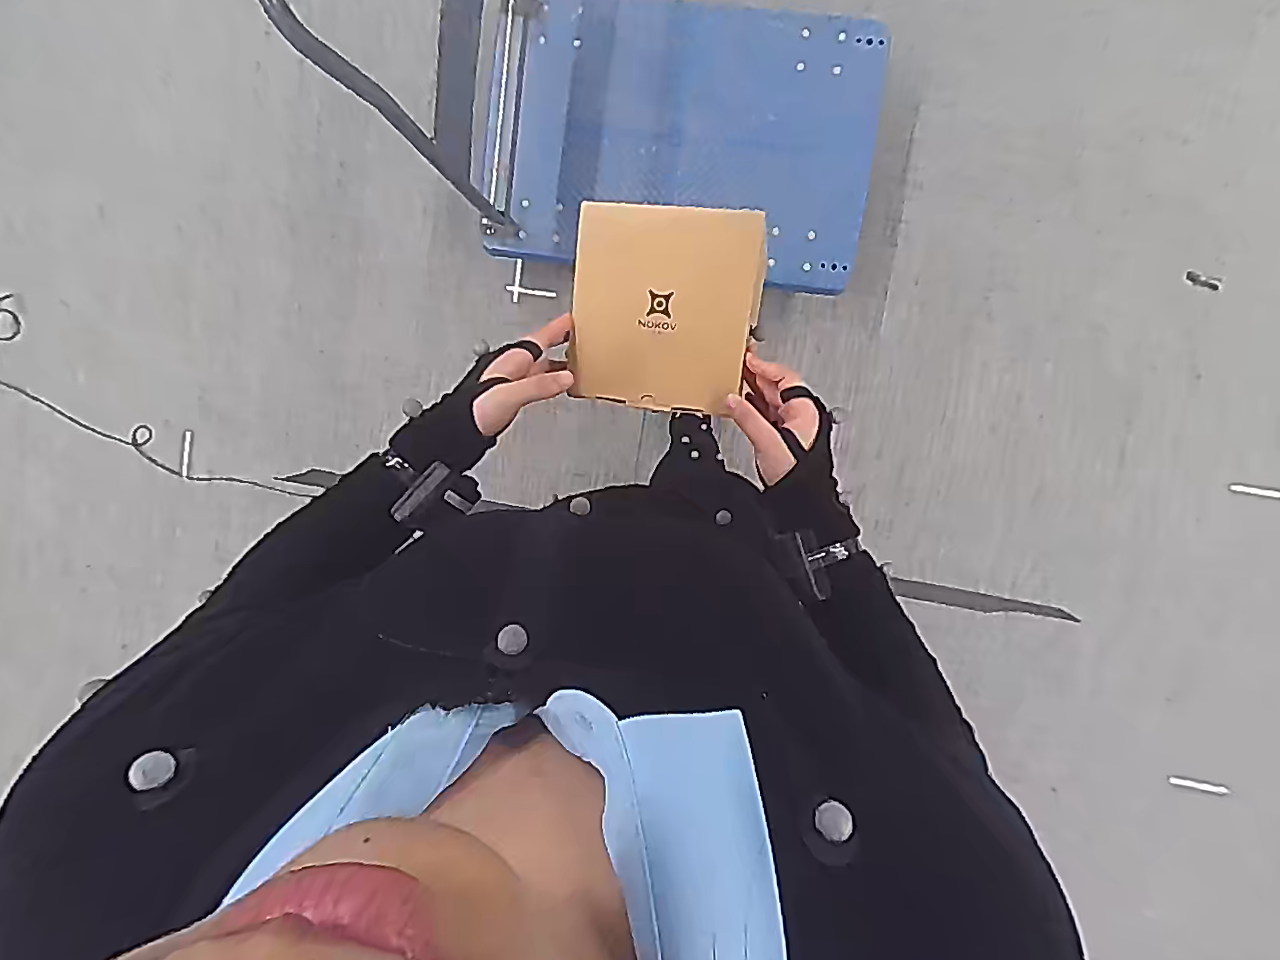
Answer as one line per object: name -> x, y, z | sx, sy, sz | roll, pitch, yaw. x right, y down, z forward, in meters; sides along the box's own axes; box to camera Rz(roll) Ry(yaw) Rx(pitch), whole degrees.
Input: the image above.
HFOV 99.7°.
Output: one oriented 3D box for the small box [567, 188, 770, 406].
small box -> 0.035, -0.176, 0.558 | 0.168, 0.176, 0.179 | 8, 102, 11
